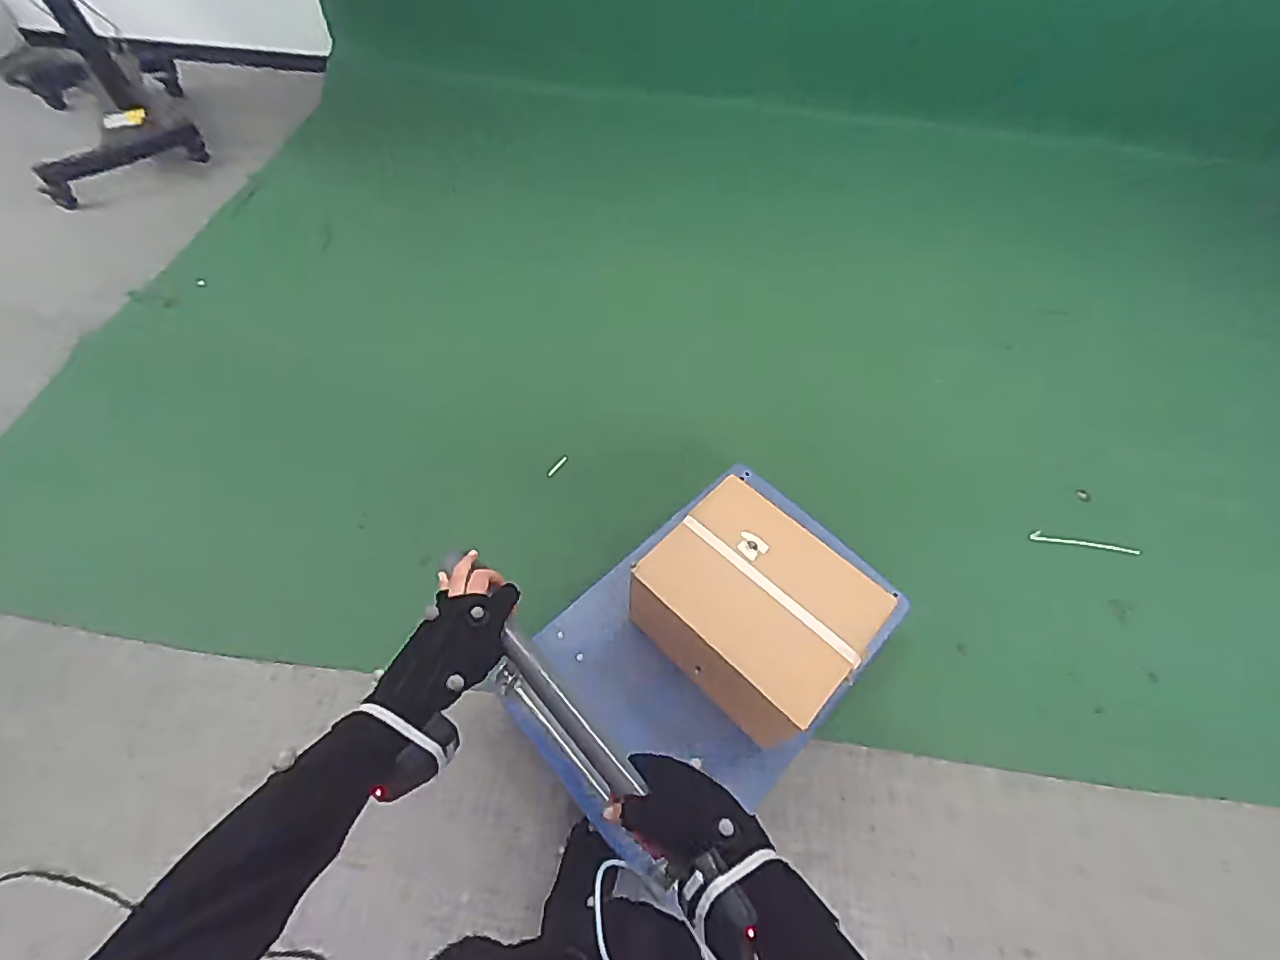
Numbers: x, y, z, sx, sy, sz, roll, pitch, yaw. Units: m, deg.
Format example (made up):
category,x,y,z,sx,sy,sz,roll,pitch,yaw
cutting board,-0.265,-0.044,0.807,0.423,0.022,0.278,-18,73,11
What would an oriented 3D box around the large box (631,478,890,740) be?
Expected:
category,x,y,z,sx,sy,sz,roll,pitch,yaw
large box,0.229,0.278,1.160,0.408,0.320,0.320,39,65,21
